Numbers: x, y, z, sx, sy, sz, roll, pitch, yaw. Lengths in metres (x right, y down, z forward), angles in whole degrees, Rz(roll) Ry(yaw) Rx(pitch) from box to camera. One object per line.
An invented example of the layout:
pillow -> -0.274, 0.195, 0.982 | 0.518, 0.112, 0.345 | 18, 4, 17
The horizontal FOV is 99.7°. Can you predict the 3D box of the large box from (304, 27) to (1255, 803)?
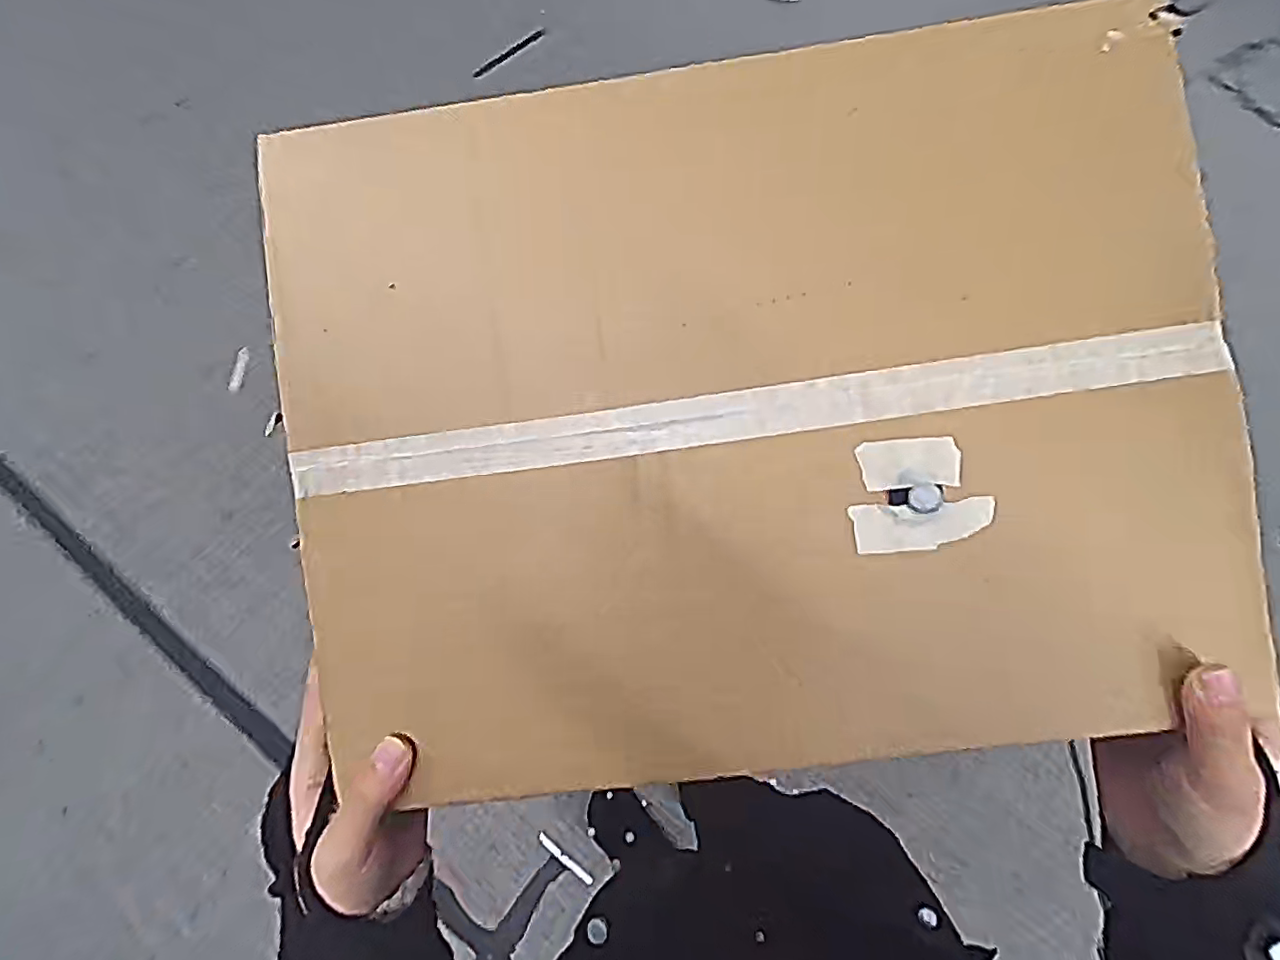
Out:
large box -> 0.058, -0.024, 0.395 | 0.408, 0.320, 0.320 | -7, 90, 2
